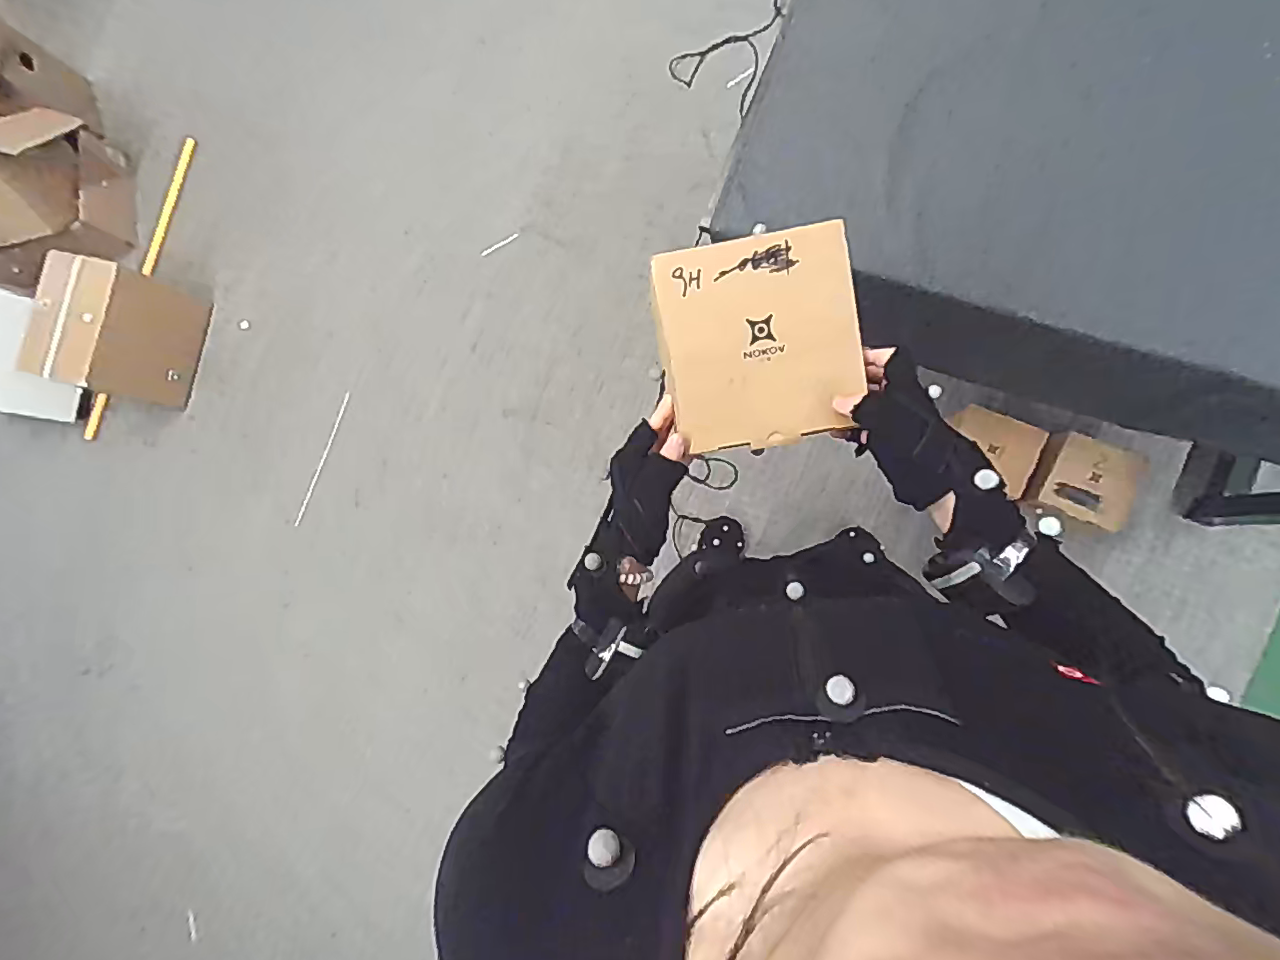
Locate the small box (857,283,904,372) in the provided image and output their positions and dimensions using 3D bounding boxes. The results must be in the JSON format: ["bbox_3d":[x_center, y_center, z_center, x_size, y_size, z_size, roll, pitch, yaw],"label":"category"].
[{"bbox_3d":[0.537,-0.375,1.383,0.168,0.176,0.179,30,90,14],"label":"small box"}]

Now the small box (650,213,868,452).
[{"bbox_3d":[0.103,-0.131,0.529,0.168,0.176,0.179,-9,96,2],"label":"small box"}]
